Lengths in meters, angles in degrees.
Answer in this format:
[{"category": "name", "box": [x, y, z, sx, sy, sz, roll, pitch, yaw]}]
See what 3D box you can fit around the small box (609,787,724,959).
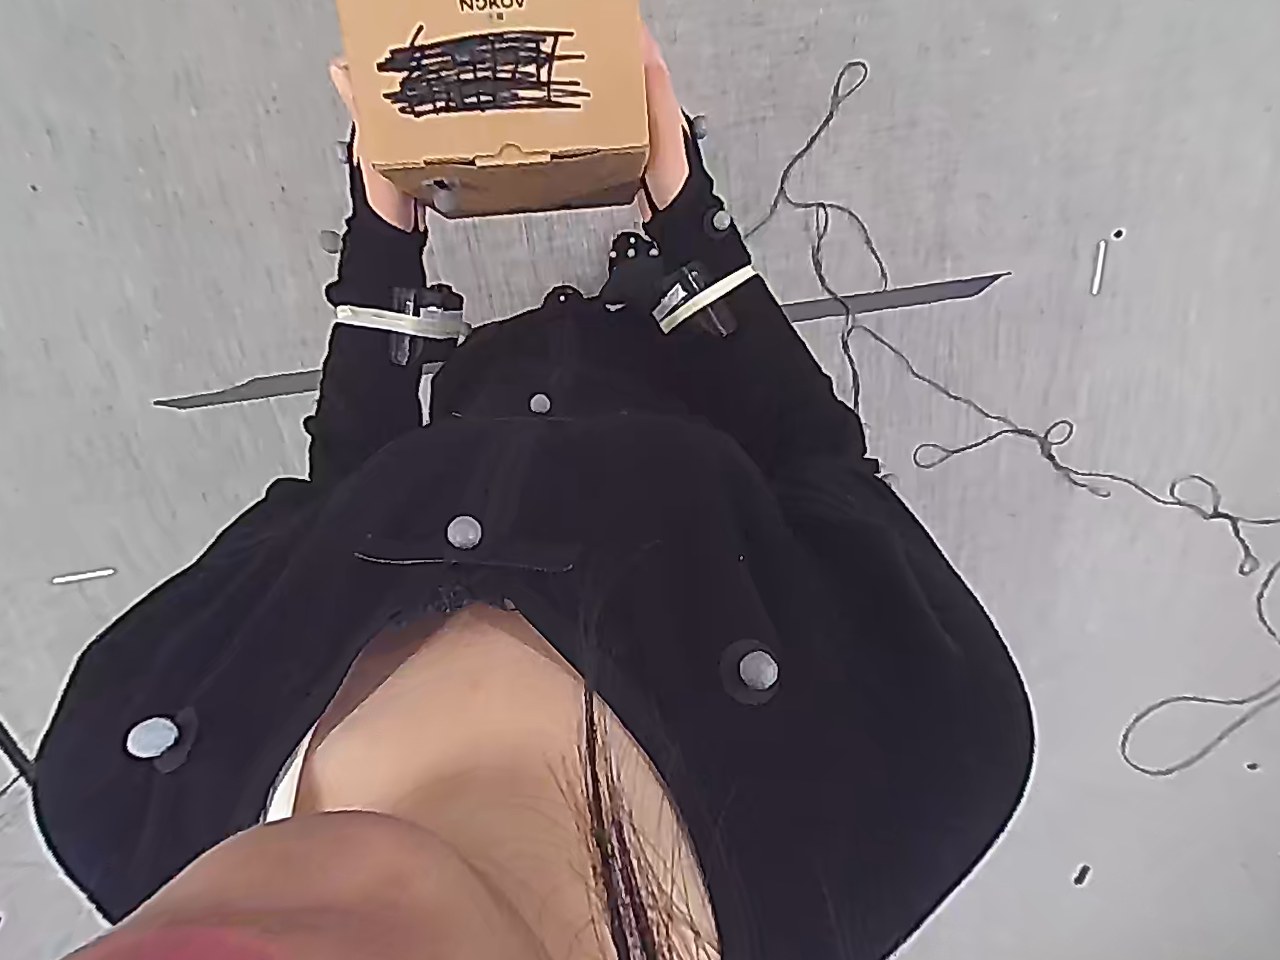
[{"category": "small box", "box": [0.041, 0.666, 0.919, 0.168, 0.176, 0.179, -8, 111, -6]}]
